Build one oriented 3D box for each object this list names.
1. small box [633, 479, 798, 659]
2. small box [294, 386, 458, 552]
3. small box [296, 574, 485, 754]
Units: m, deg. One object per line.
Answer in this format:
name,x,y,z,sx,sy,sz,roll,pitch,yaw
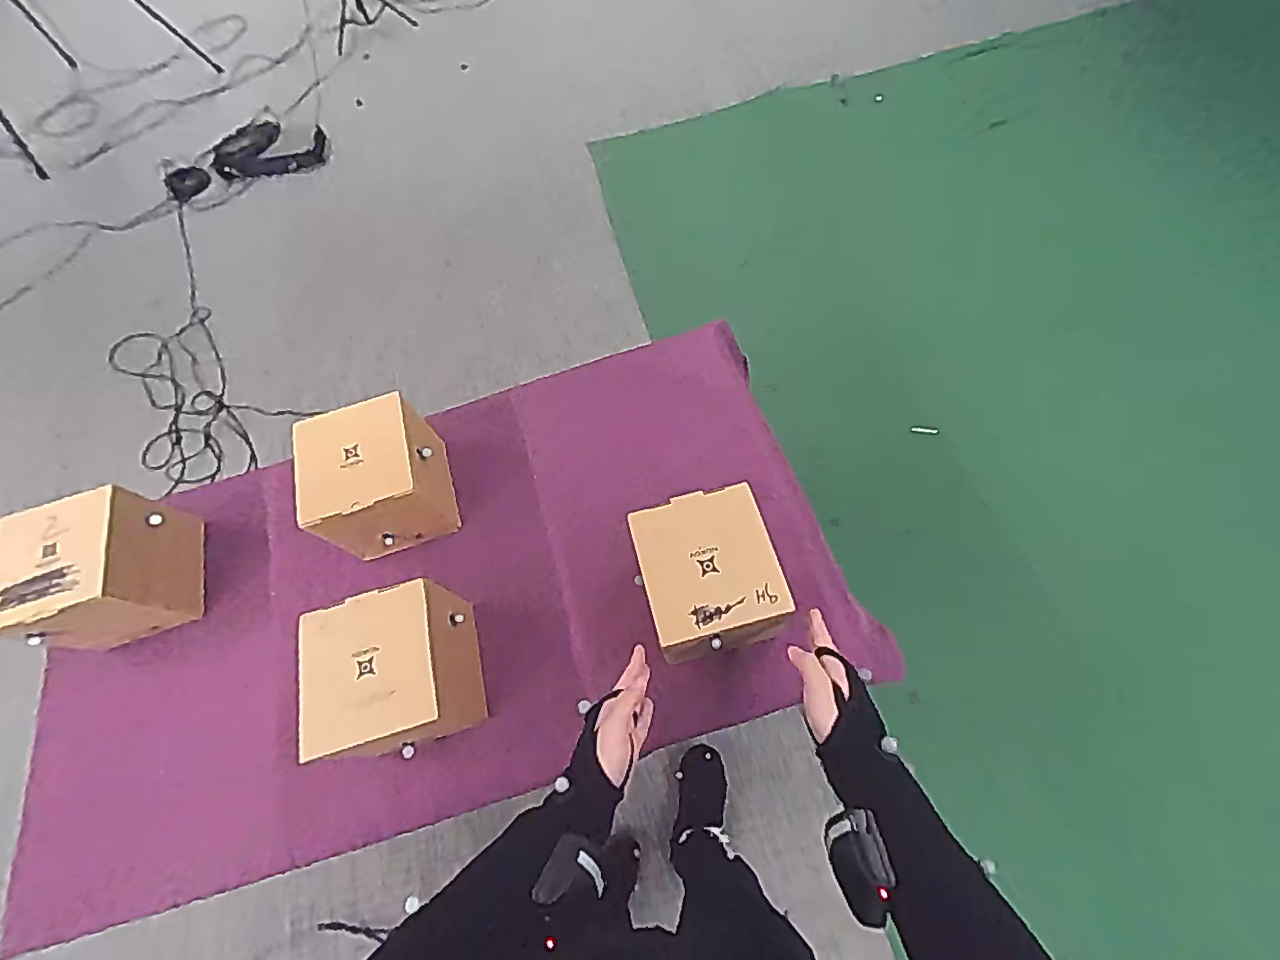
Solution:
small box,0.093,0.127,0.730,0.168,0.176,0.179,-15,64,-1
small box,-0.401,-0.011,0.838,0.168,0.176,0.179,-18,67,-4
small box,-0.319,0.247,0.713,0.168,0.176,0.179,-16,65,-2
